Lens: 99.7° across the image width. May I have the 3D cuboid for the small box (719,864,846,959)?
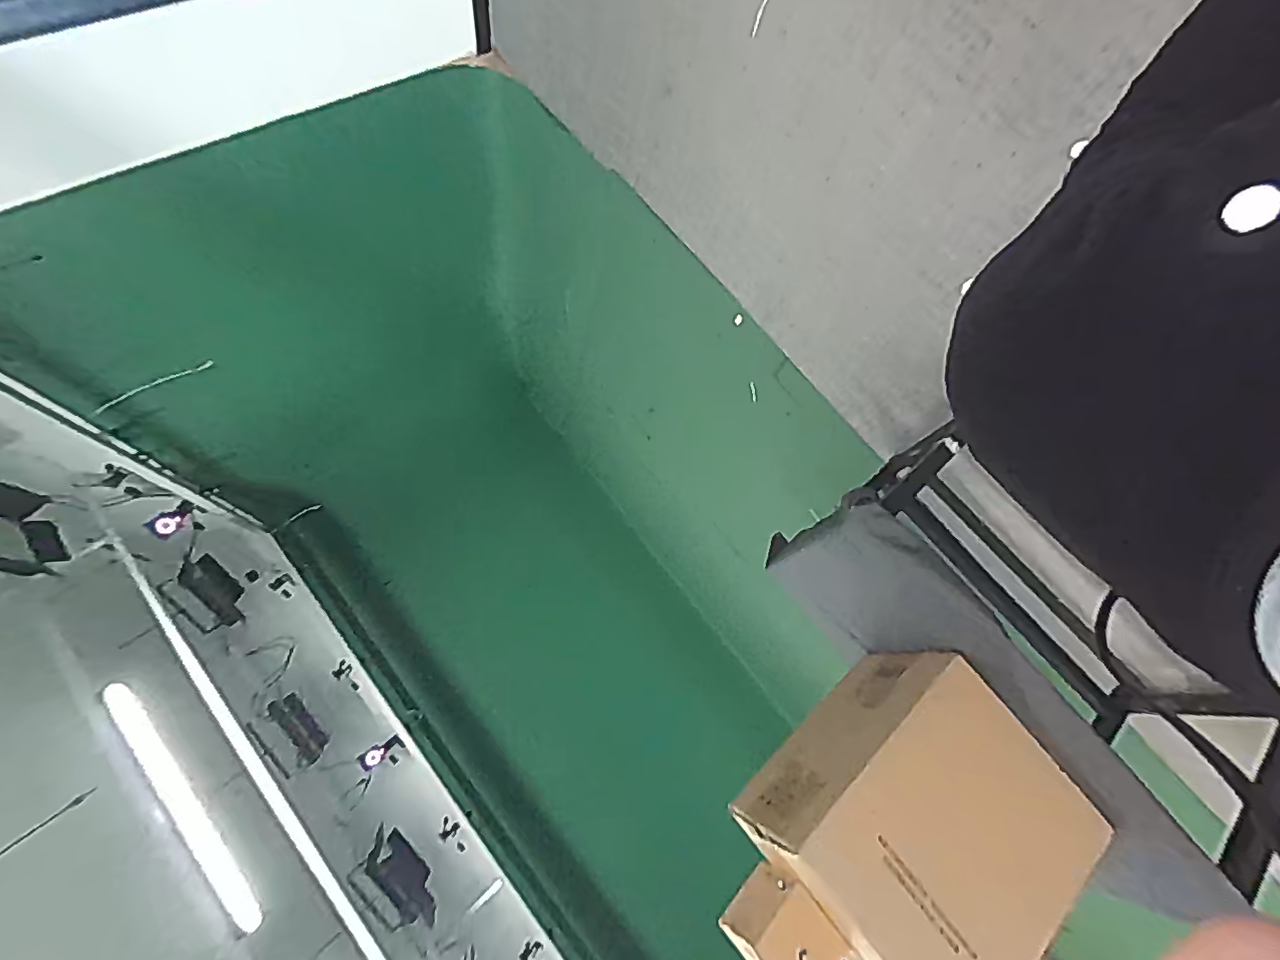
[{"bbox_3d":[0.318,1.015,1.213,0.179,0.176,0.168,50,152,6],"label":"small box"}]
